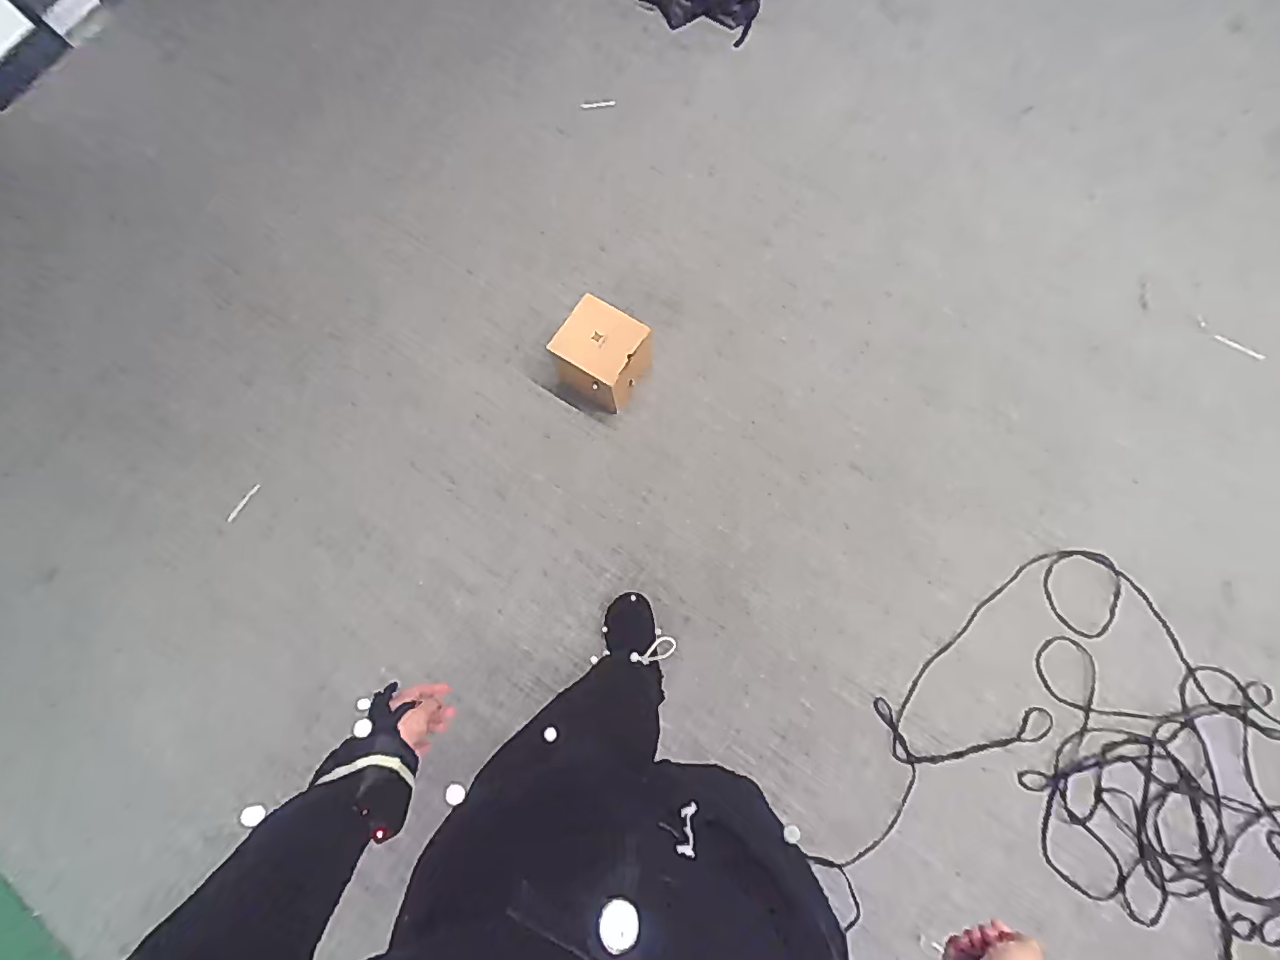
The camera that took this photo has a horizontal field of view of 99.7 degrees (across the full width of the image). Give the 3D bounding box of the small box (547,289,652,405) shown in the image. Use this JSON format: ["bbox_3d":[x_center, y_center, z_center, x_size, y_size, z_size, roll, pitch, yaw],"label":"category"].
[{"bbox_3d":[-0.087,-0.300,1.258,0.179,0.176,0.168,32,79,8],"label":"small box"}]
